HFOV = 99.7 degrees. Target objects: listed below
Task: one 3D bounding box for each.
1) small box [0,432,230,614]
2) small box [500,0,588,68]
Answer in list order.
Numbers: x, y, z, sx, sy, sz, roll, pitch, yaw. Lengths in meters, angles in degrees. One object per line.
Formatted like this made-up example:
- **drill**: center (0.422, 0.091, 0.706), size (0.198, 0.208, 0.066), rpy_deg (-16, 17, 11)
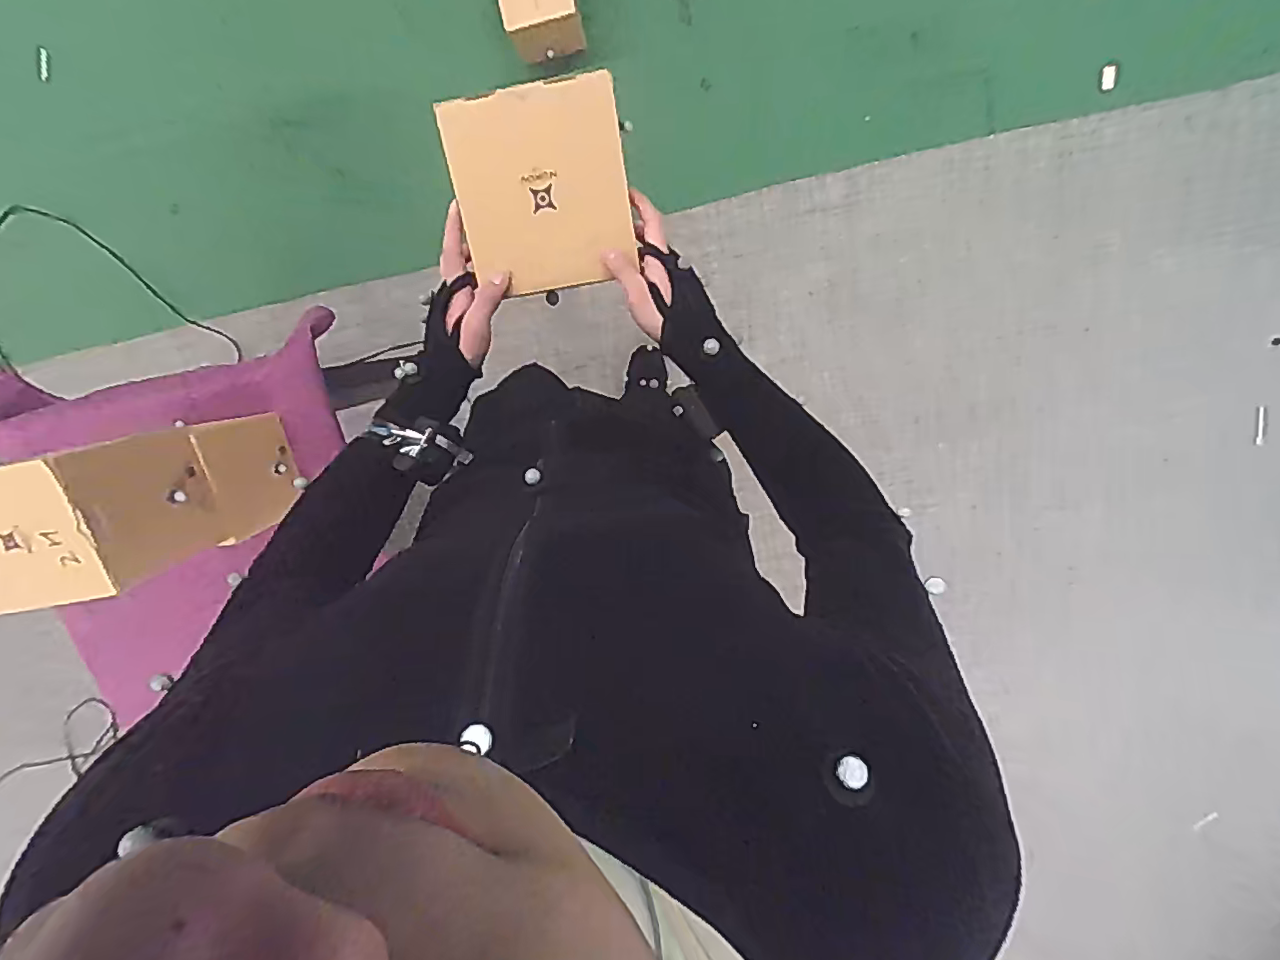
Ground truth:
- **small box**: center (-0.679, 0.046, 0.677), size (0.179, 0.176, 0.168), rpy_deg (-9, 107, 6)
- **small box**: center (-0.227, -1.106, 1.252), size (0.168, 0.176, 0.179), rpy_deg (-11, 106, 7)
